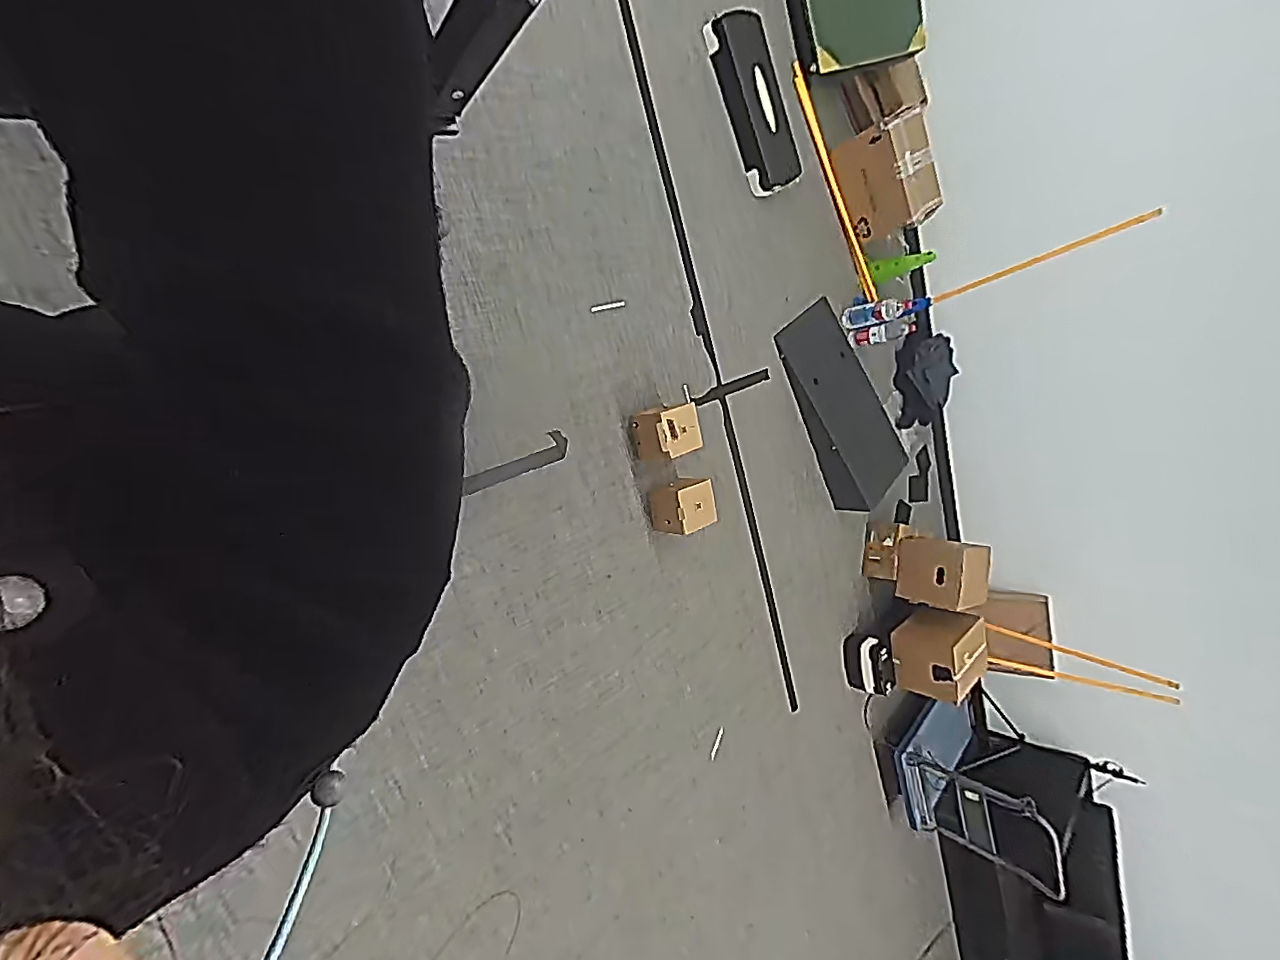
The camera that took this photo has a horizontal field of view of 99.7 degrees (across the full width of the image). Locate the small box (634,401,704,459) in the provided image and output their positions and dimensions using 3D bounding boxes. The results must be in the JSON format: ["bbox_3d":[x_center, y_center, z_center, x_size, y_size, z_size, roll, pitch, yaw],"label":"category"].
[{"bbox_3d":[0.098,-0.177,1.937,0.179,0.176,0.168,-24,106,-38],"label":"small box"}]

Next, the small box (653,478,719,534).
[{"bbox_3d":[0.163,0.092,1.998,0.179,0.176,0.168,-20,104,-38],"label":"small box"}]
